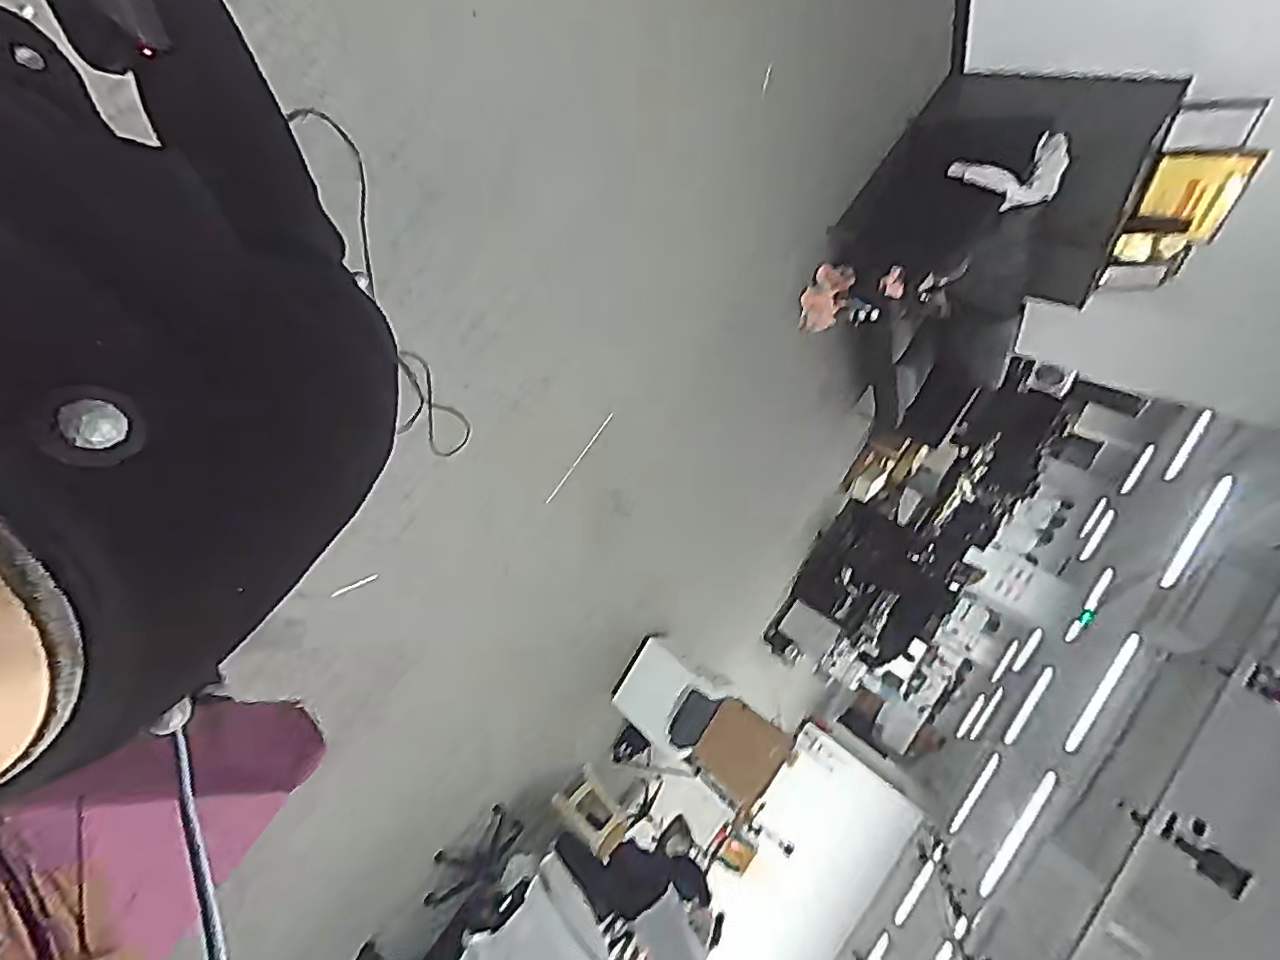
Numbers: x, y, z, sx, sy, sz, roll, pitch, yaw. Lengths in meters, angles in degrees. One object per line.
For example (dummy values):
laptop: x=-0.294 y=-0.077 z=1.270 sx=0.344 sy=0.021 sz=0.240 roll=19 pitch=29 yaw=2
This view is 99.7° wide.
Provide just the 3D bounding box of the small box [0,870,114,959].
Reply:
small box: x=-0.852 y=0.658 z=0.709 sx=0.179 sy=0.176 sz=0.168 roll=-57 pitch=146 yaw=1
